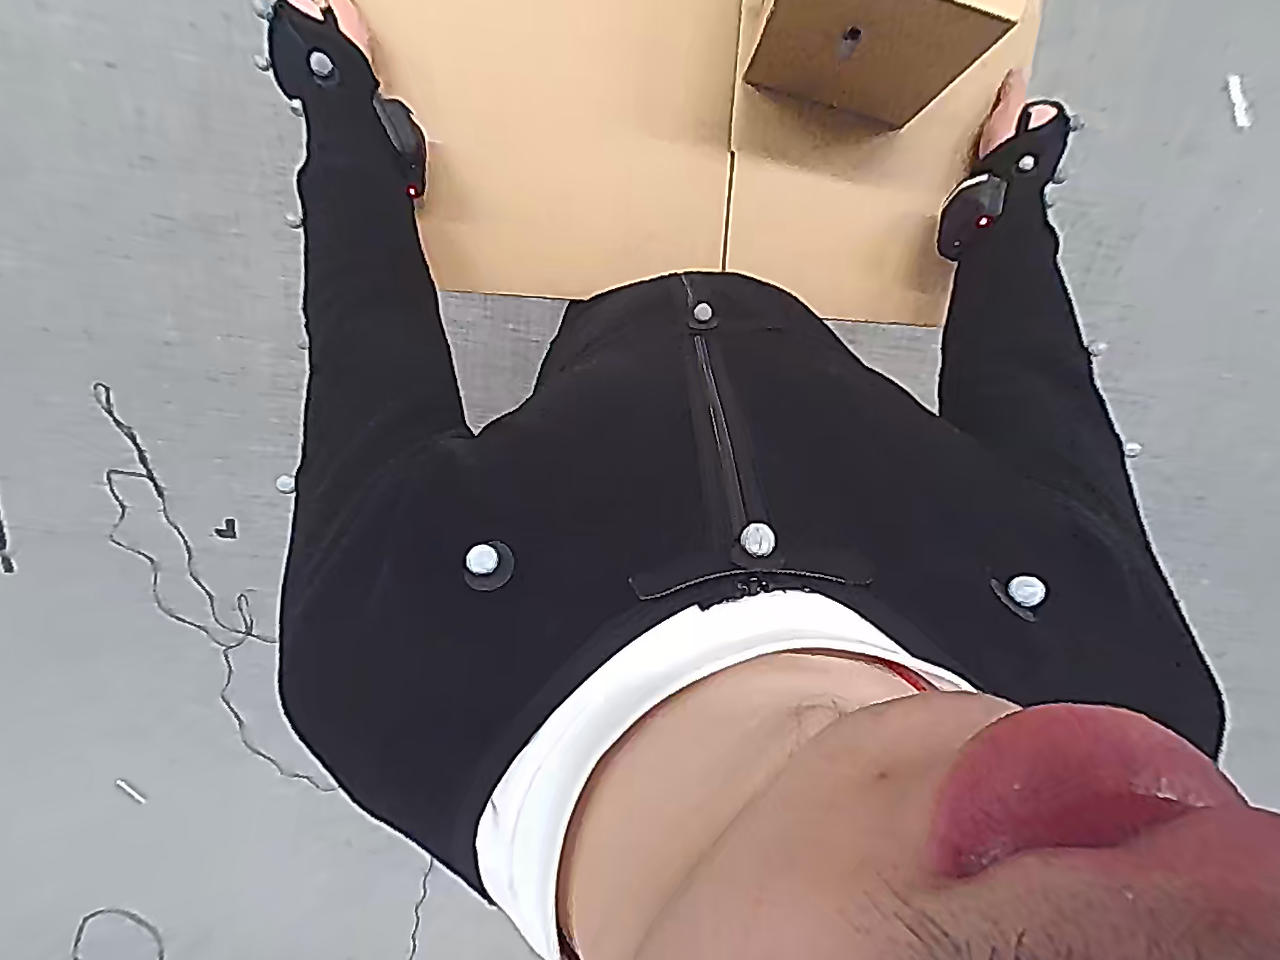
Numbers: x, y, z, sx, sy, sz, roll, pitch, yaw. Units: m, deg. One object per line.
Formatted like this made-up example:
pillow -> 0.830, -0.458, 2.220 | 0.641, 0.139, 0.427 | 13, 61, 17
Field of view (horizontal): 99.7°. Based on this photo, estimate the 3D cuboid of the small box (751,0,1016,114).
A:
small box -> 0.208, -0.451, 0.459 | 0.179, 0.176, 0.168 | 14, 100, -3
